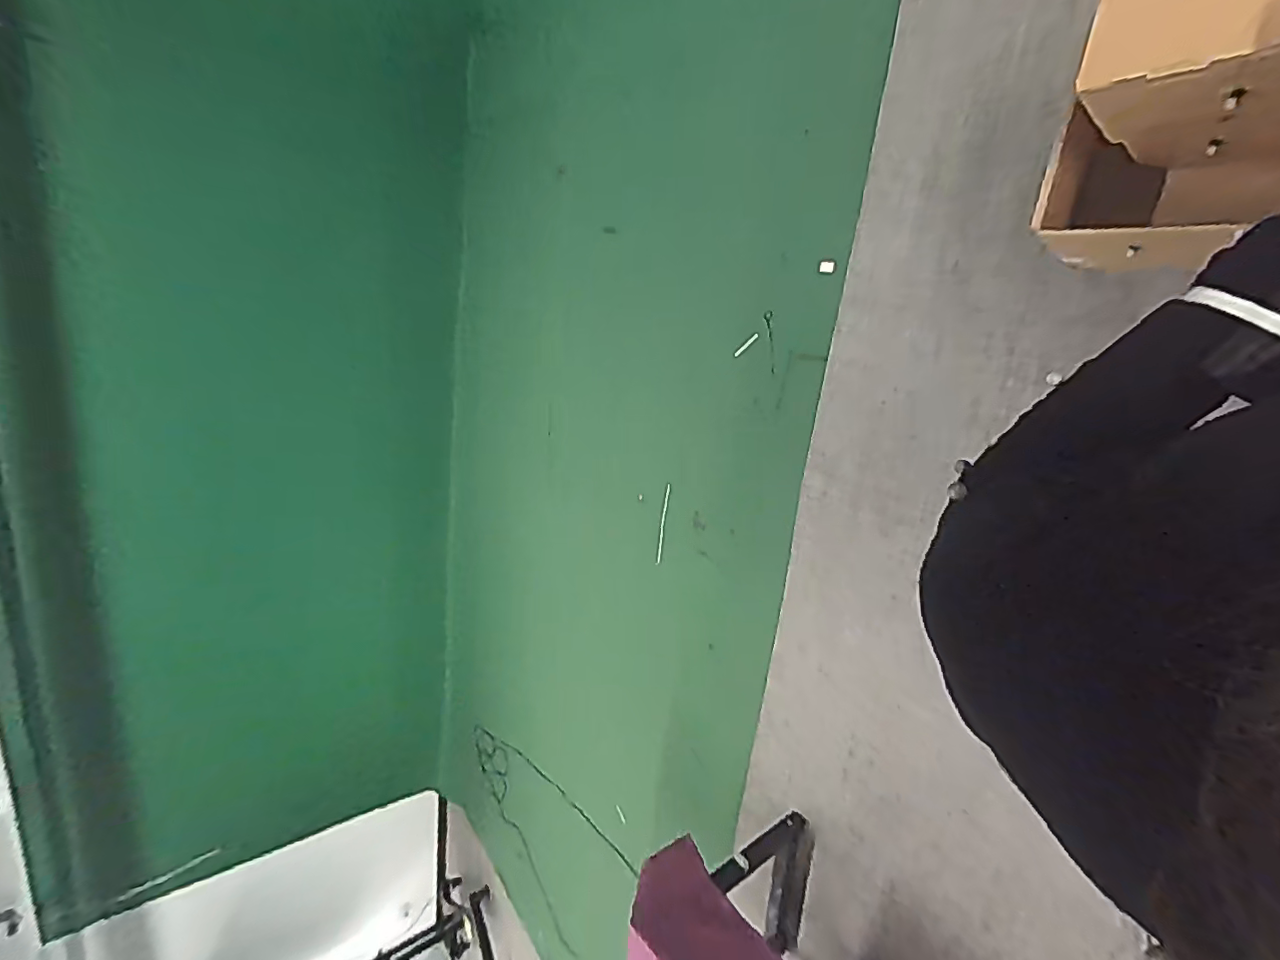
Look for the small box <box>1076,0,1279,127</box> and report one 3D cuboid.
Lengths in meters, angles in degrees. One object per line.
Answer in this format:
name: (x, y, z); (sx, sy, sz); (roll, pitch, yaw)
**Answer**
small box: (0.591, -0.484, 0.546); (0.168, 0.176, 0.179); (26, 113, 47)
